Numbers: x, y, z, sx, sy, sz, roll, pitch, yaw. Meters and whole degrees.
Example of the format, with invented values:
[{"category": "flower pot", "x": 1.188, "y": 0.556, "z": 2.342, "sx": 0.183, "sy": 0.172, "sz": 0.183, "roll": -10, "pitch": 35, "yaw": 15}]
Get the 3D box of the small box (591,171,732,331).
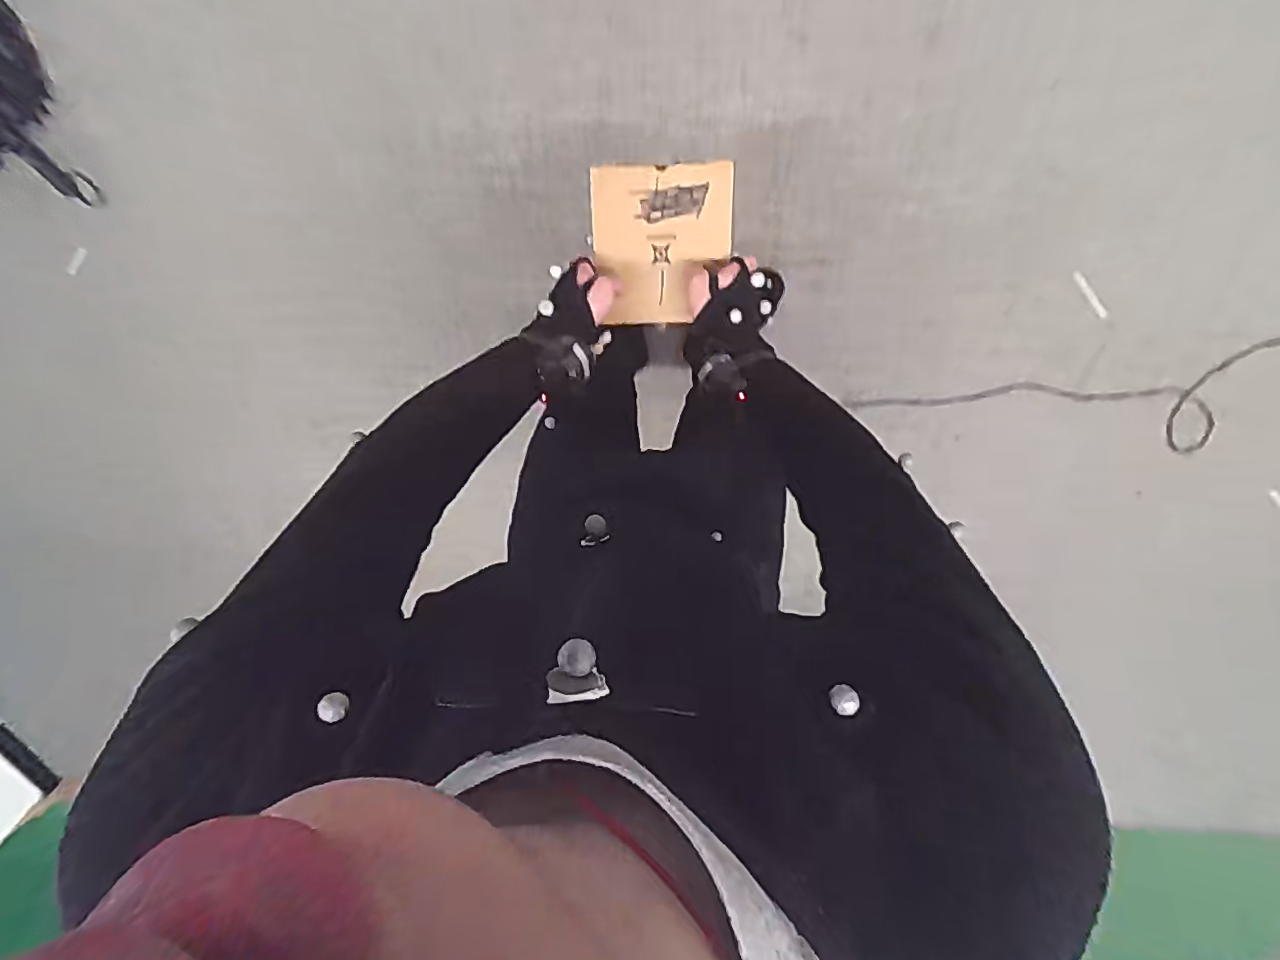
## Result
[{"category": "small box", "x": 0.031, "y": -0.295, "z": 0.723, "sx": 0.168, "sy": 0.176, "sz": 0.179, "roll": 0, "pitch": 110, "yaw": 5}]
